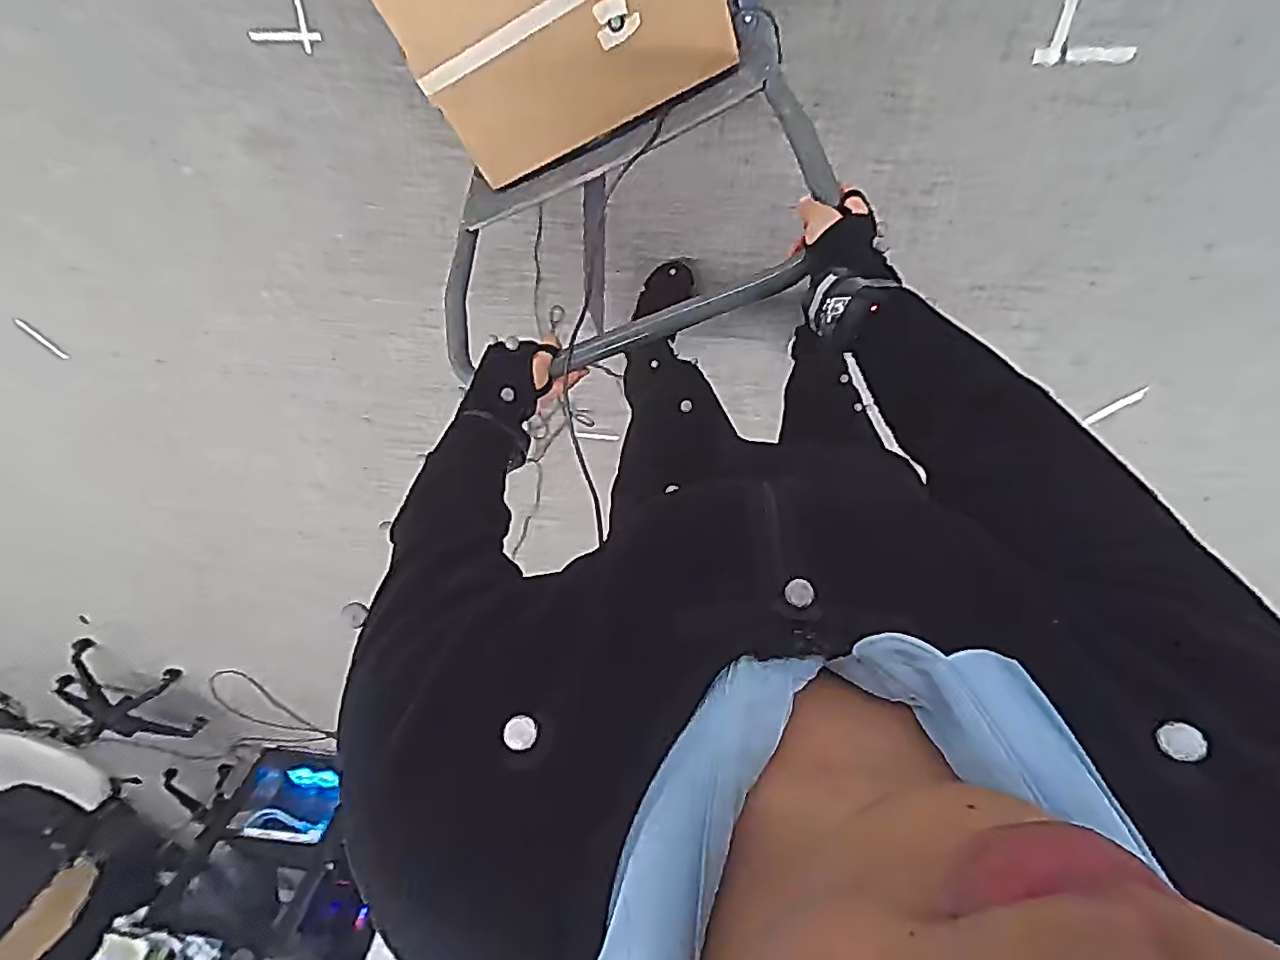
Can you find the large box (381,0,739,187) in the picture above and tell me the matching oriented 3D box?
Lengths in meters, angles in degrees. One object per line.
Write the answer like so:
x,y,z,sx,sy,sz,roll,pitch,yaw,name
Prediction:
-0.113,-0.719,0.784,0.408,0.320,0.320,-18,139,17,large box
